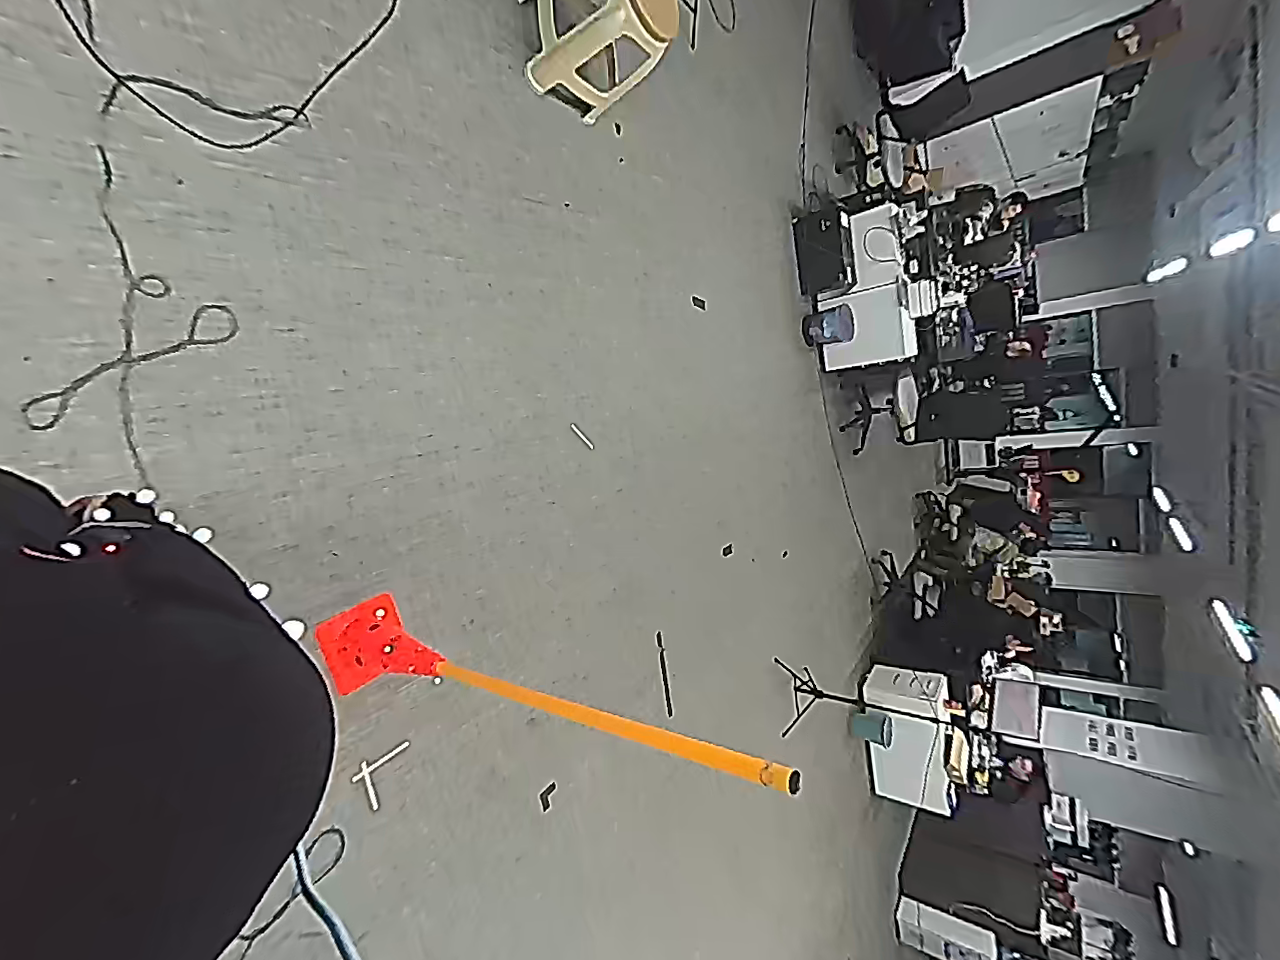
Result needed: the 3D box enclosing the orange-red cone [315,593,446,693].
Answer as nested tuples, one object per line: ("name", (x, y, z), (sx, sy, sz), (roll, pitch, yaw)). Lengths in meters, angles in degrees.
("orange-red cone", (-0.569, 0.406, 1.269), (0.199, 0.360, 0.198), (-27, 108, -48))
